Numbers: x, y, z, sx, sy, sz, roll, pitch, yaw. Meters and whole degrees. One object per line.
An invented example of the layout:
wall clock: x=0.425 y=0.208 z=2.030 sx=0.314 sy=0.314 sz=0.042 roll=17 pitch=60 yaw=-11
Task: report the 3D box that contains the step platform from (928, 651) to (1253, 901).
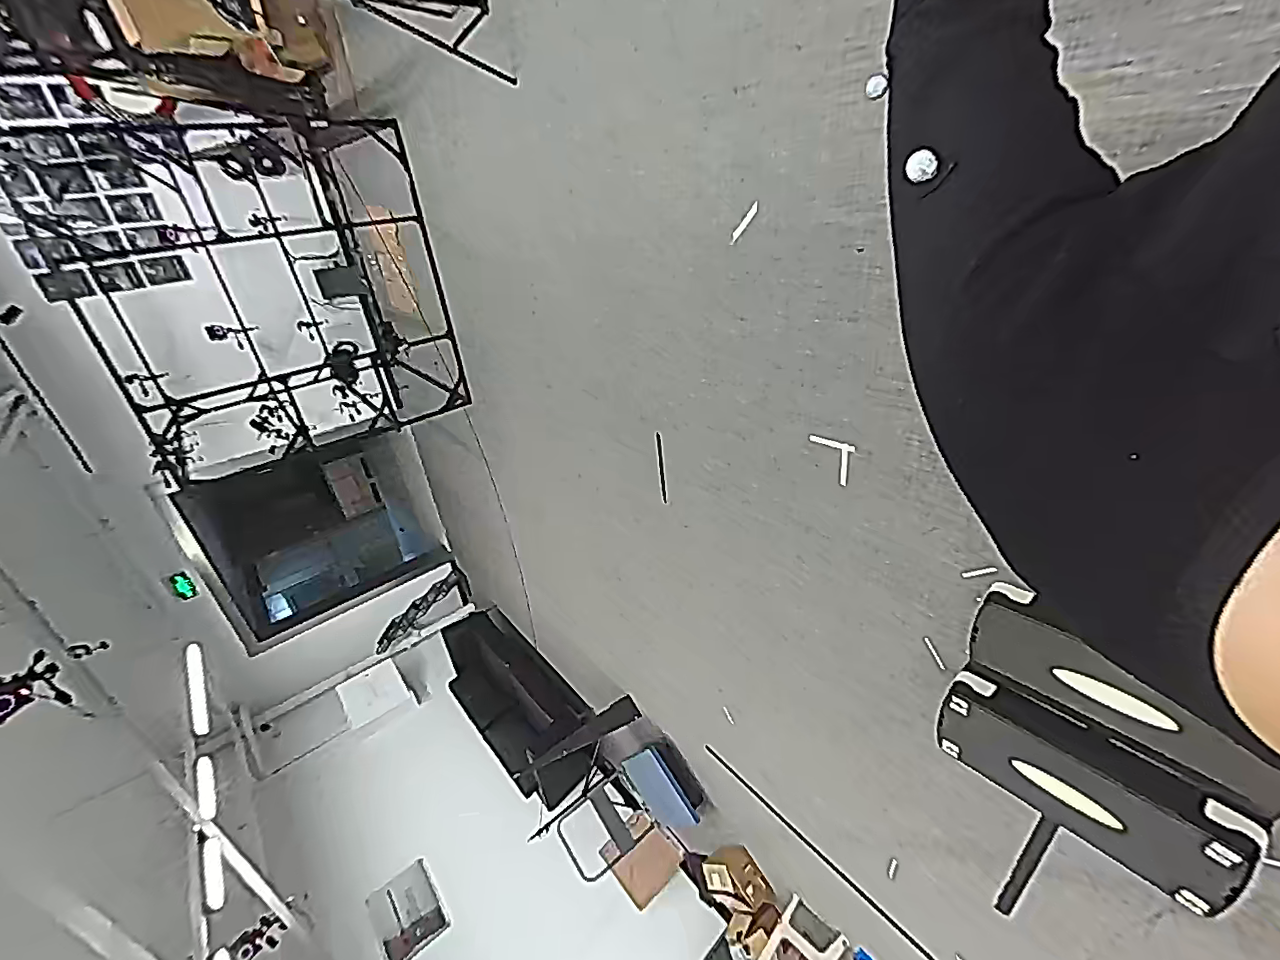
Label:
step platform: x=1.190 y=0.790 z=1.522 sx=0.684 sy=0.204 sz=0.286 roll=26 pitch=132 yaw=47
